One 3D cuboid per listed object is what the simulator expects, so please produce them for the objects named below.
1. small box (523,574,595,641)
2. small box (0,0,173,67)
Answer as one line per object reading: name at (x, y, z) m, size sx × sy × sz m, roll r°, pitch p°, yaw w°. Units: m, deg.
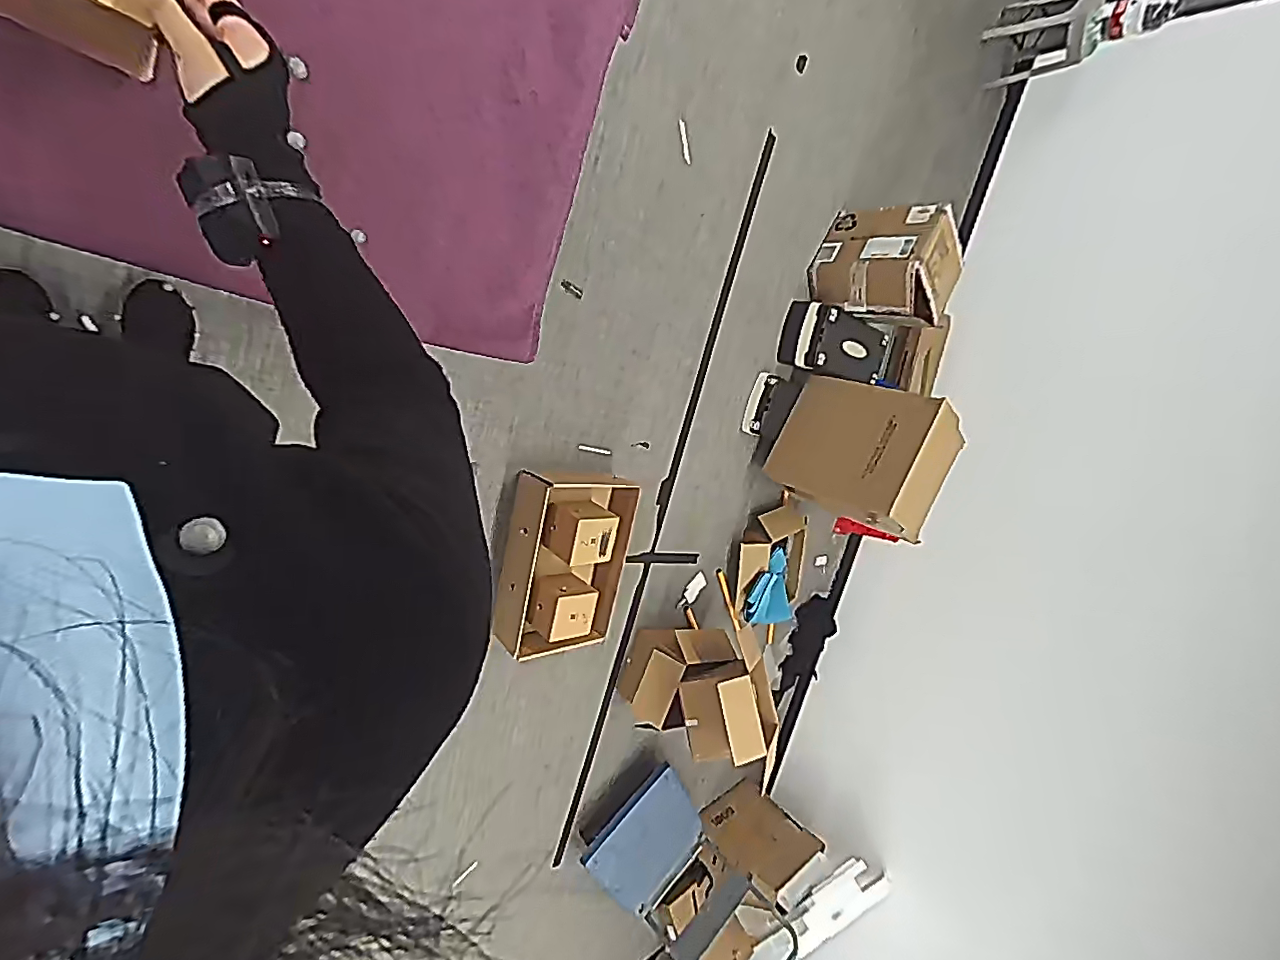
small box at (-0.289, 0.441, 1.897) m, size 0.179 × 0.176 × 0.168 m, roll 3°, pitch 105°, yaw -45°
small box at (-0.440, -0.435, 0.381) m, size 0.179 × 0.176 × 0.168 m, roll 9°, pitch 101°, yaw -44°
